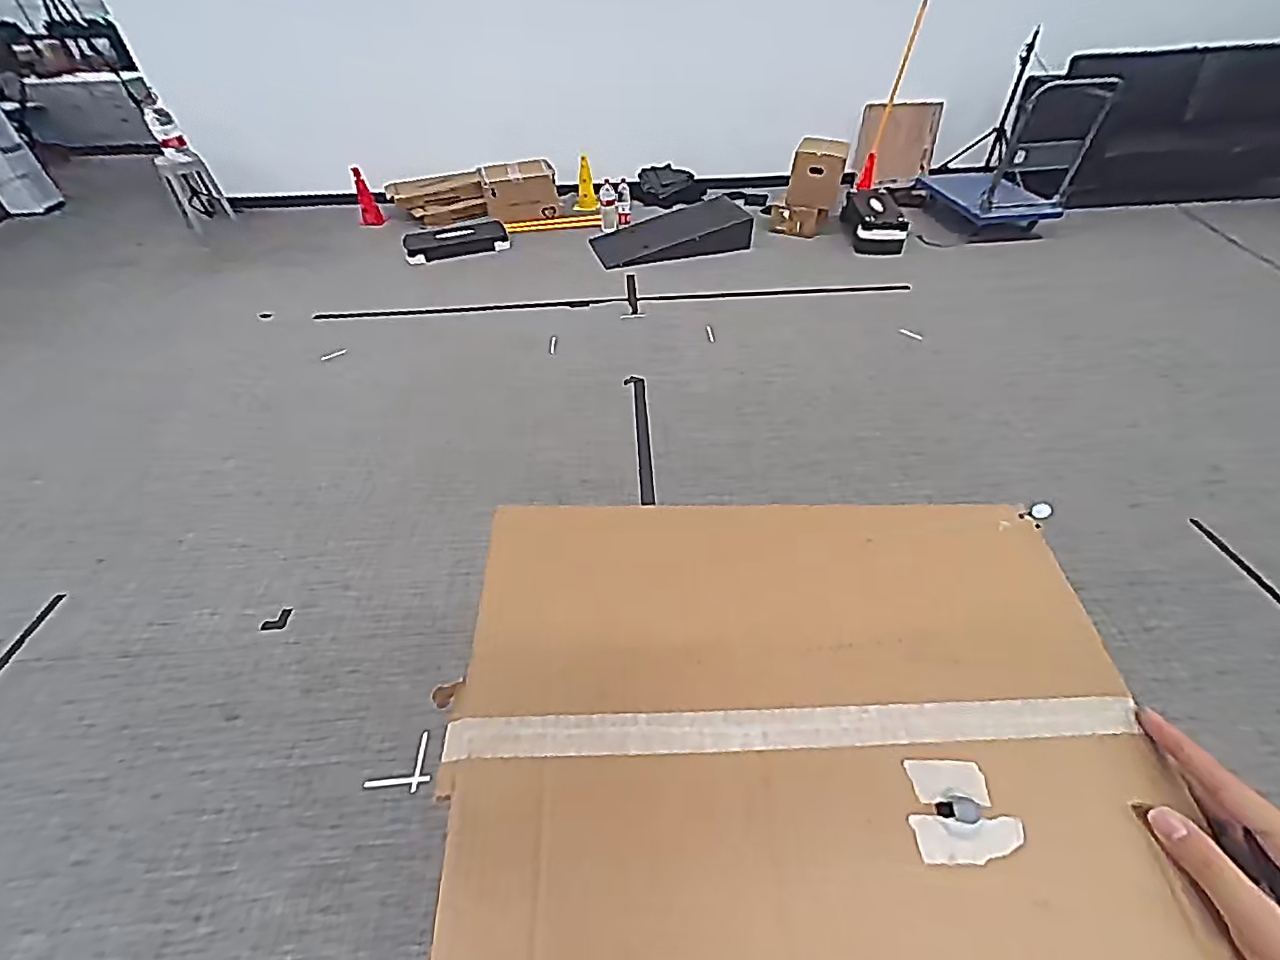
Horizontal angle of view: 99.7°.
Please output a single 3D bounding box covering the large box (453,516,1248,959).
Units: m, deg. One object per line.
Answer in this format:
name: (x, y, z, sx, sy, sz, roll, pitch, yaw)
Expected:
large box: (0.092, 0.242, 0.443, 0.408, 0.320, 0.320, 0, 54, -4)
